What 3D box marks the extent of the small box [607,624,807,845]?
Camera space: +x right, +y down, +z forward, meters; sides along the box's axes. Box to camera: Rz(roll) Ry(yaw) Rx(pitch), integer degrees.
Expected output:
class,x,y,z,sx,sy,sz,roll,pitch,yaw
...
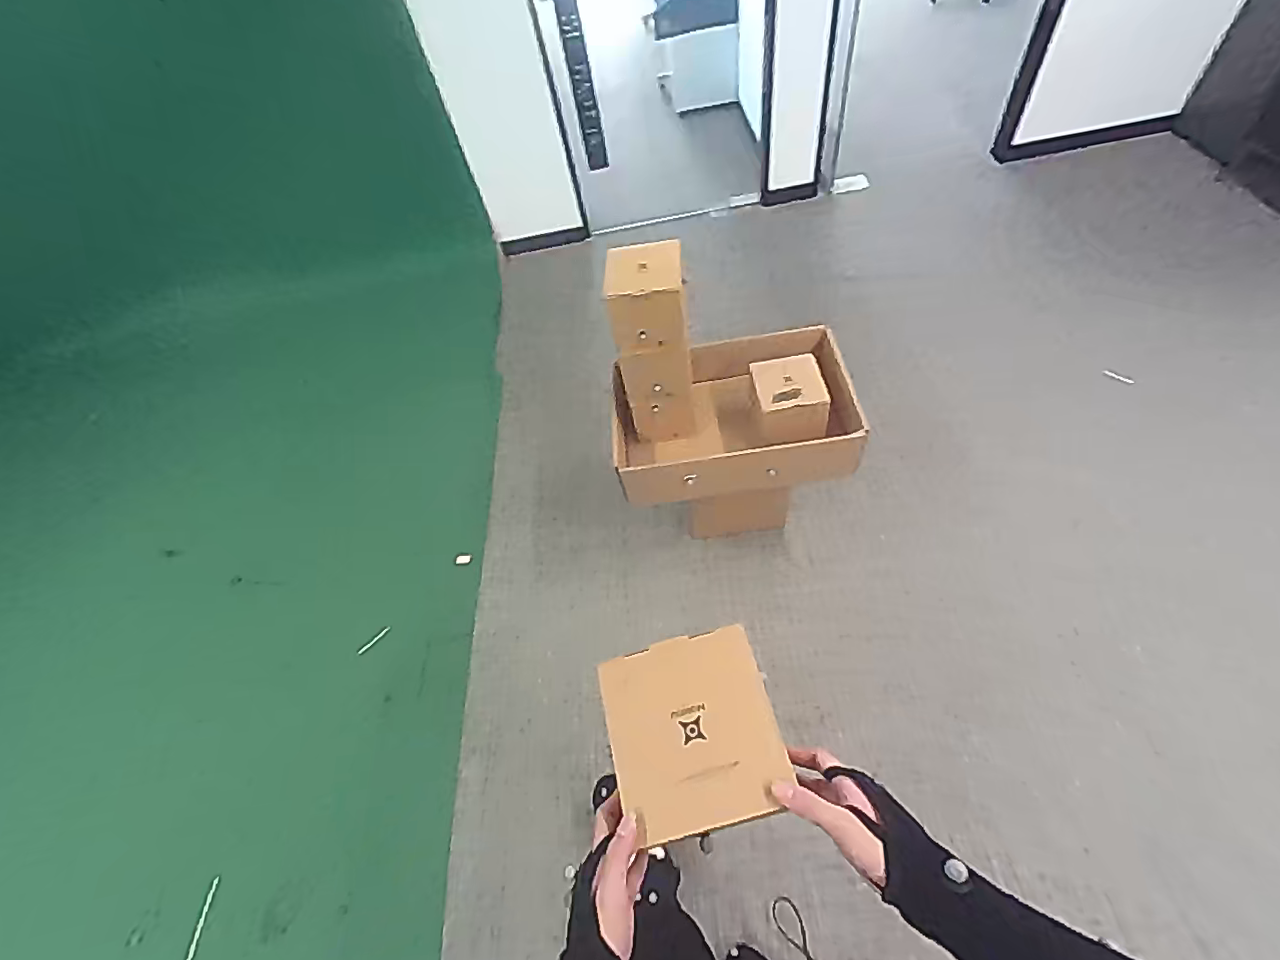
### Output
class,x,y,z,sx,sy,sz,roll,pitch,yaw
small box,0.066,0.286,0.599,0.168,0.176,0.179,-13,55,0

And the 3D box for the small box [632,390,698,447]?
class,x,y,z,sx,sy,sz,roll,pitch,yaw
small box,0.068,-0.215,1.502,0.168,0.176,0.179,-7,54,6

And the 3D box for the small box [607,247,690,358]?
class,x,y,z,sx,sy,sz,roll,pitch,yaw
small box,0.025,-0.404,1.239,0.168,0.176,0.179,-4,55,8

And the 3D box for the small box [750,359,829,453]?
class,x,y,z,sx,sy,sz,roll,pitch,yaw
small box,0.386,-0.186,1.420,0.168,0.176,0.179,-8,53,5

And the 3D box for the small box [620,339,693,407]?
class,x,y,z,sx,sy,sz,roll,pitch,yaw
small box,0.045,-0.310,1.370,0.168,0.176,0.179,-5,55,8
